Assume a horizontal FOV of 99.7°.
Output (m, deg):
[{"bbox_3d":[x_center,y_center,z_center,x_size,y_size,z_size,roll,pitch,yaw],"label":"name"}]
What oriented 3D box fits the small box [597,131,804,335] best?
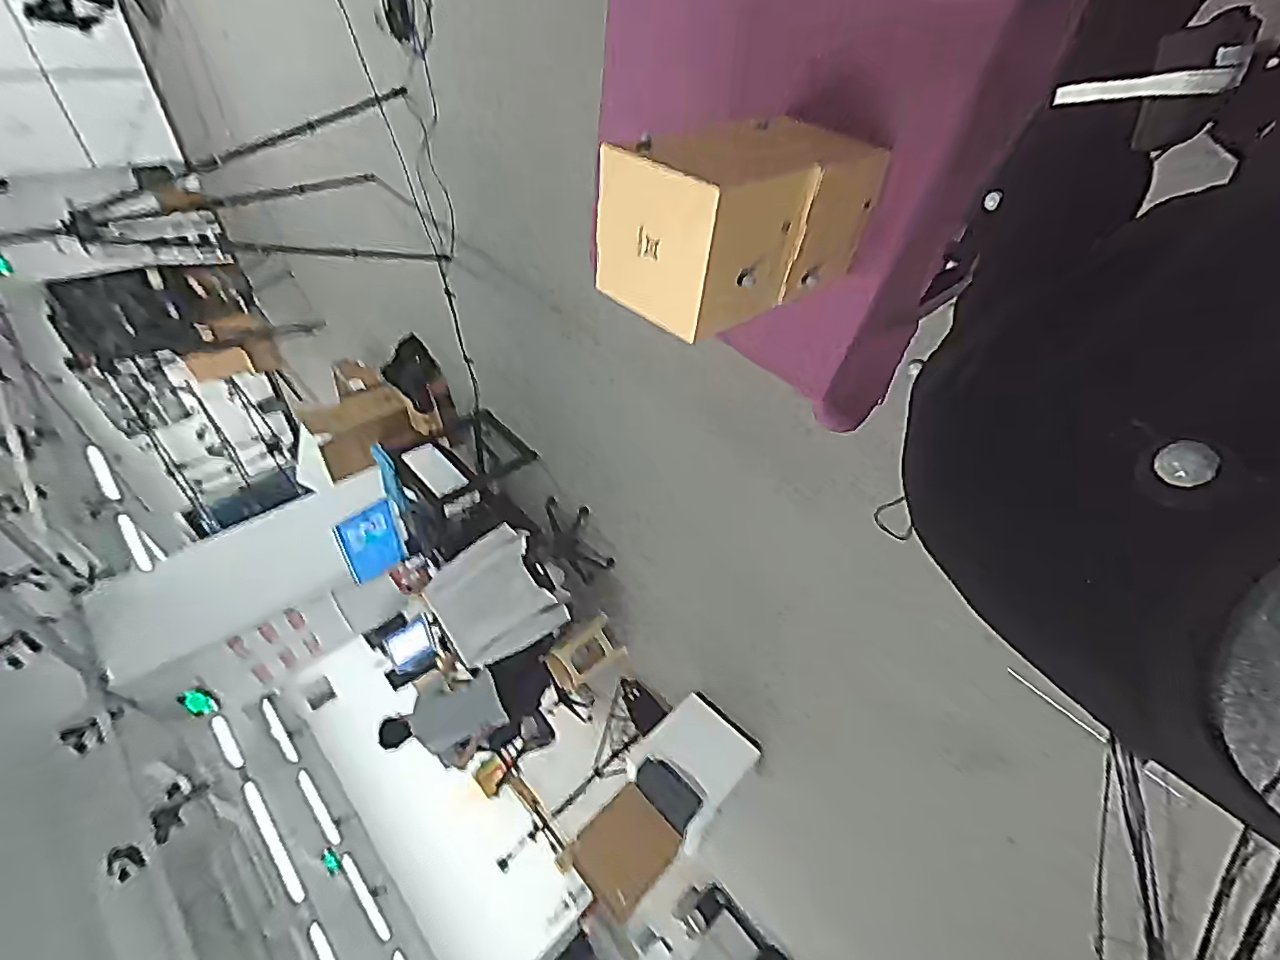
[{"bbox_3d":[0.067,-0.306,0.653,0.179,0.176,0.168,39,143,29],"label":"small box"}]
